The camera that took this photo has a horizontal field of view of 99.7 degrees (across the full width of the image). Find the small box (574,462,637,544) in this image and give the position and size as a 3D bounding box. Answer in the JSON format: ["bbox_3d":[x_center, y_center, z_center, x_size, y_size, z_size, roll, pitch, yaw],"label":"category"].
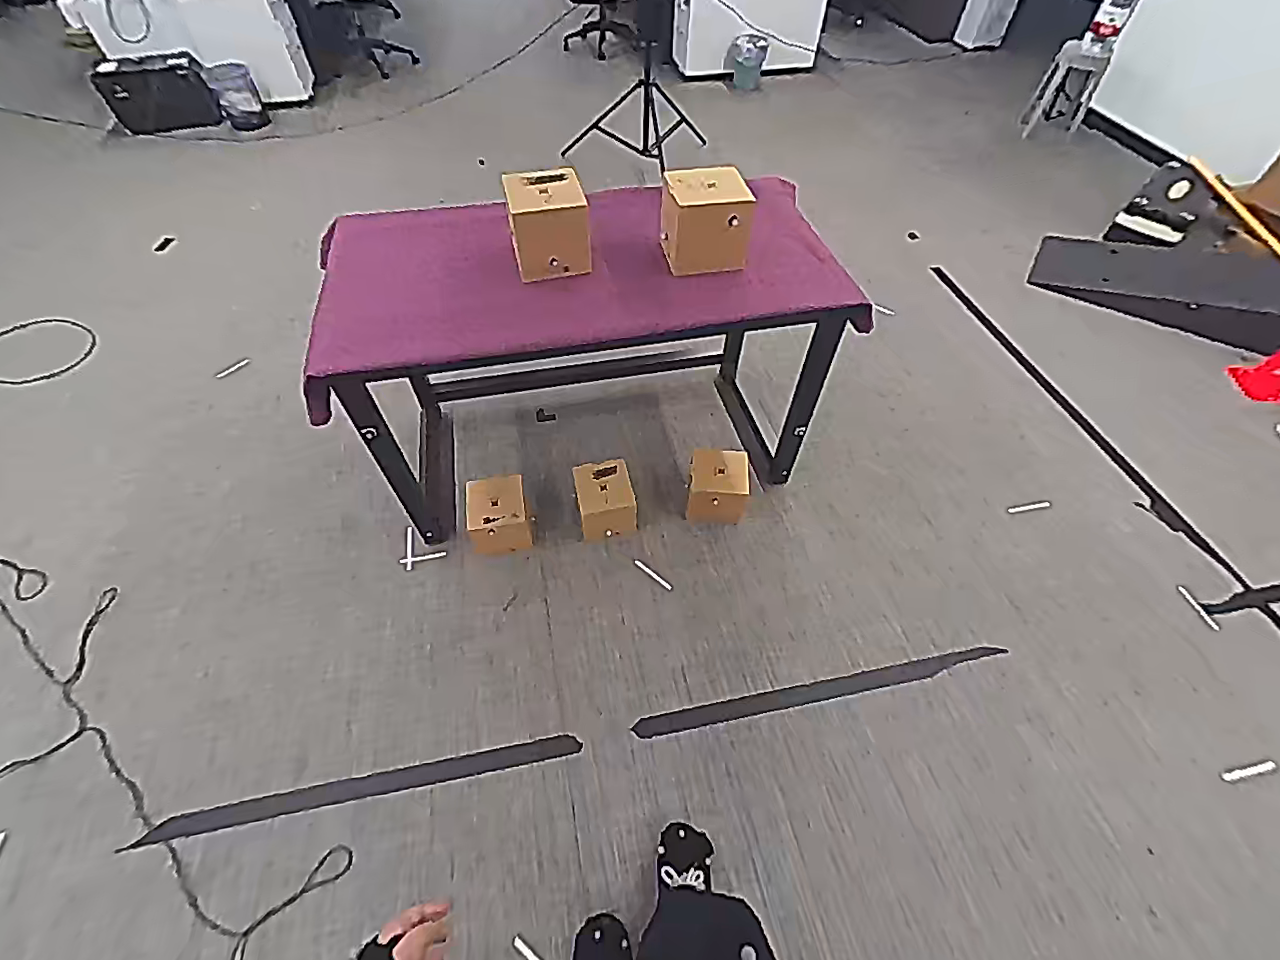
[{"bbox_3d":[-0.107,0.072,1.674,0.168,0.176,0.179,-10,55,-8],"label":"small box"}]

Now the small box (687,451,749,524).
[{"bbox_3d":[0.245,0.027,1.714,0.179,0.176,0.168,3,54,4],"label":"small box"}]

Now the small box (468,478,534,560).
[{"bbox_3d":[-0.418,0.119,1.637,0.168,0.176,0.179,-8,52,-7],"label":"small box"}]

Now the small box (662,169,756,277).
[{"bbox_3d":[0.152,-0.600,1.269,0.179,0.176,0.168,-8,53,-6],"label":"small box"}]
